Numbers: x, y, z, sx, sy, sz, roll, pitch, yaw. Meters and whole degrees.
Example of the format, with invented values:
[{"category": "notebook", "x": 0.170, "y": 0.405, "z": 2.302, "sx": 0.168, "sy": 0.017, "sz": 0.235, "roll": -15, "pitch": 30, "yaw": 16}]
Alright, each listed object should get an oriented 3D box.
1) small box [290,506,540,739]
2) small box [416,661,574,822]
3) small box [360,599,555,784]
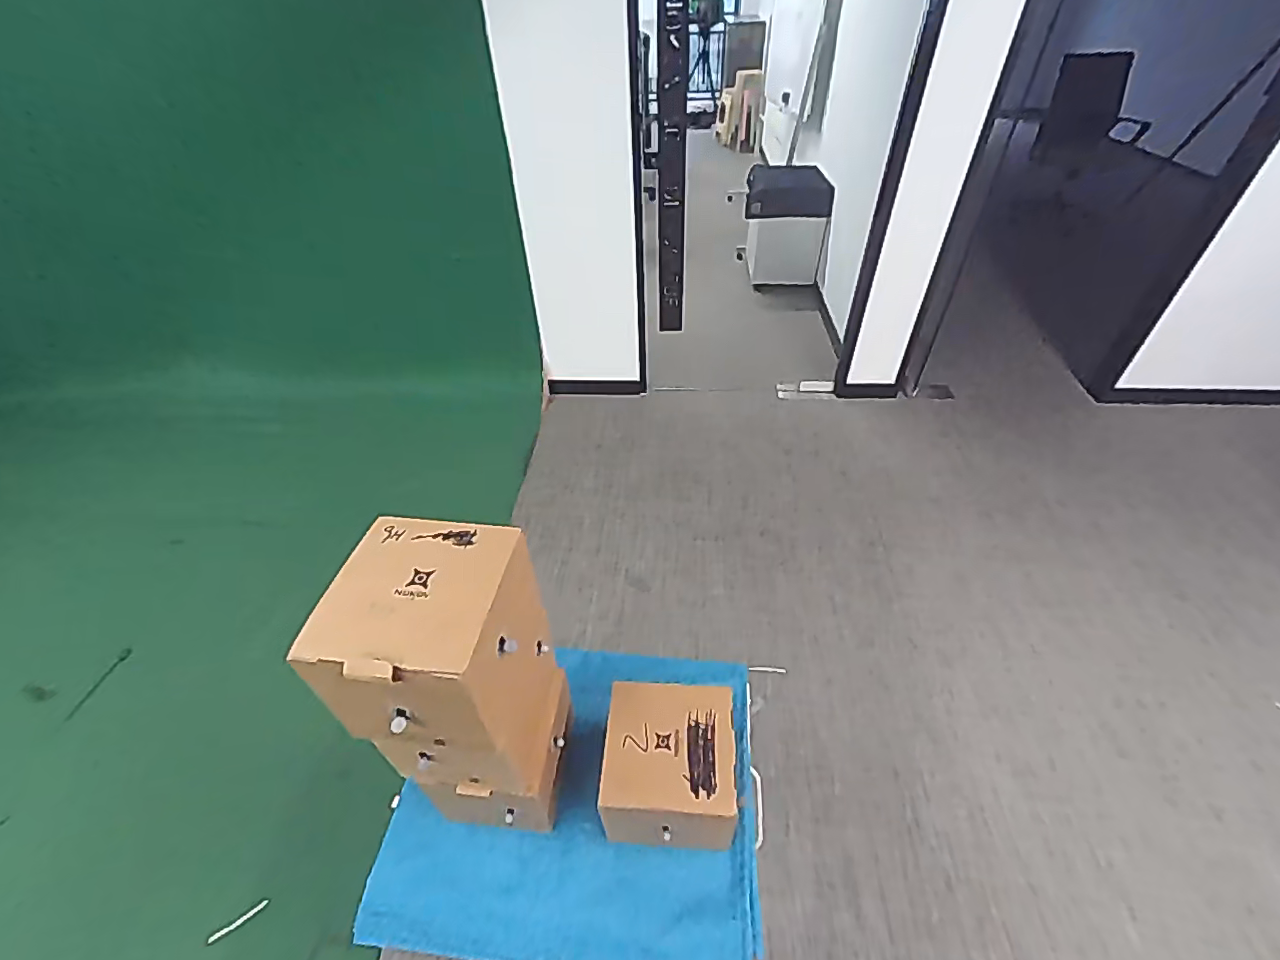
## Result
[{"category": "small box", "x": -0.214, "y": 0.152, "z": 0.578, "sx": 0.168, "sy": 0.176, "sz": 0.179, "roll": 5, "pitch": 43, "yaw": 6}, {"category": "small box", "x": -0.199, "y": 0.384, "z": 0.806, "sx": 0.168, "sy": 0.176, "sz": 0.179, "roll": 4, "pitch": 43, "yaw": 6}, {"category": "small box", "x": -0.214, "y": 0.265, "z": 0.698, "sx": 0.168, "sy": 0.176, "sz": 0.179, "roll": 5, "pitch": 42, "yaw": 7}]
